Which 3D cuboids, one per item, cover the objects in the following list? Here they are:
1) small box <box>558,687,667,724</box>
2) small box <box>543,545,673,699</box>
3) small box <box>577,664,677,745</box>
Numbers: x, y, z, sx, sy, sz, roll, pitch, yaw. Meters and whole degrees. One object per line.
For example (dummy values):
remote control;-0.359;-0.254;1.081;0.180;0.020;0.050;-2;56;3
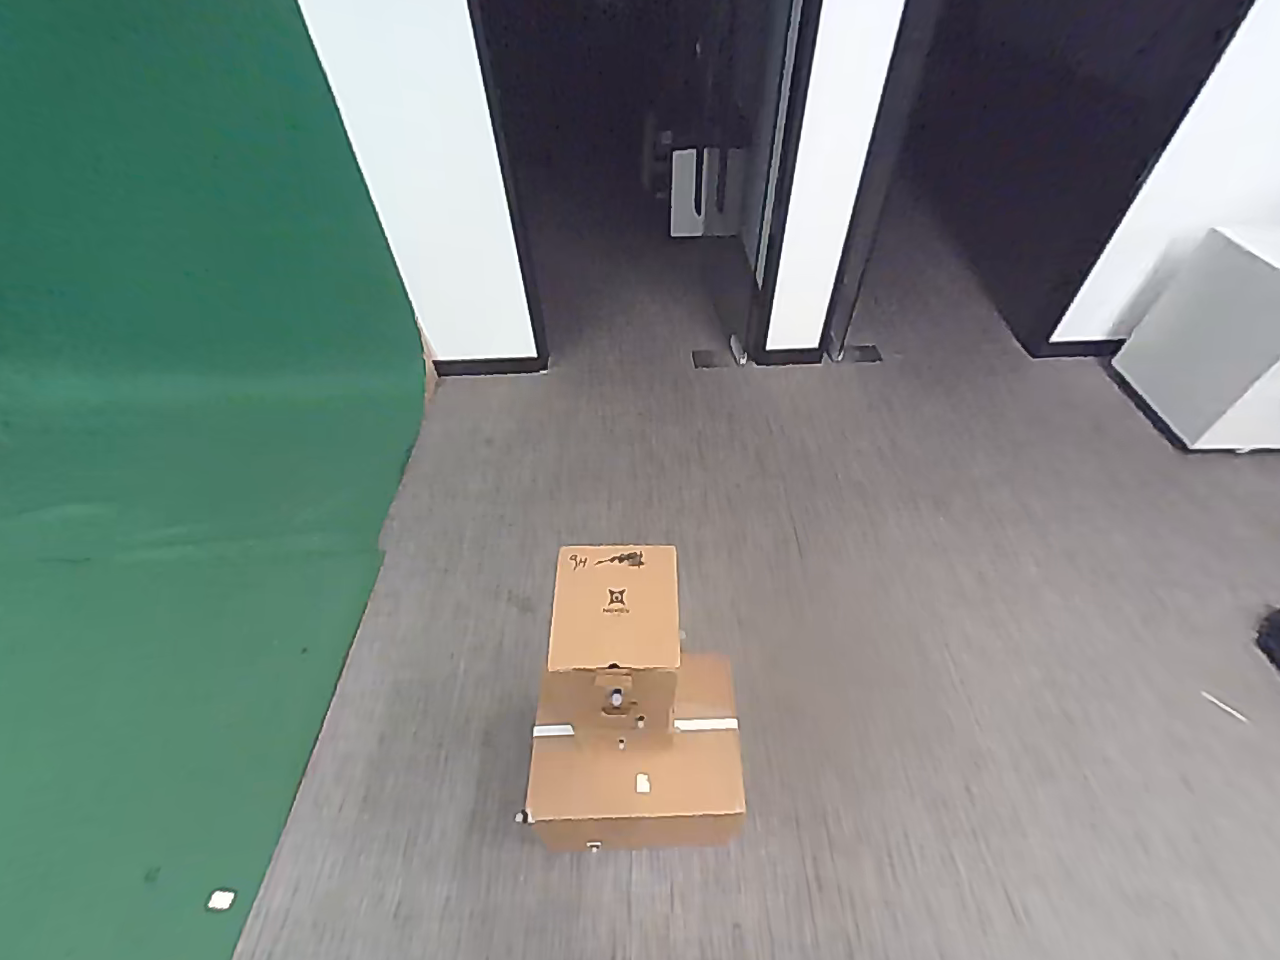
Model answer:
small box;-0.037;0.304;0.915;0.168;0.176;0.179;0;53;1
small box;-0.036;0.210;0.781;0.168;0.176;0.179;-1;54;1
small box;-0.025;0.406;1.041;0.179;0.176;0.168;-2;54;0
